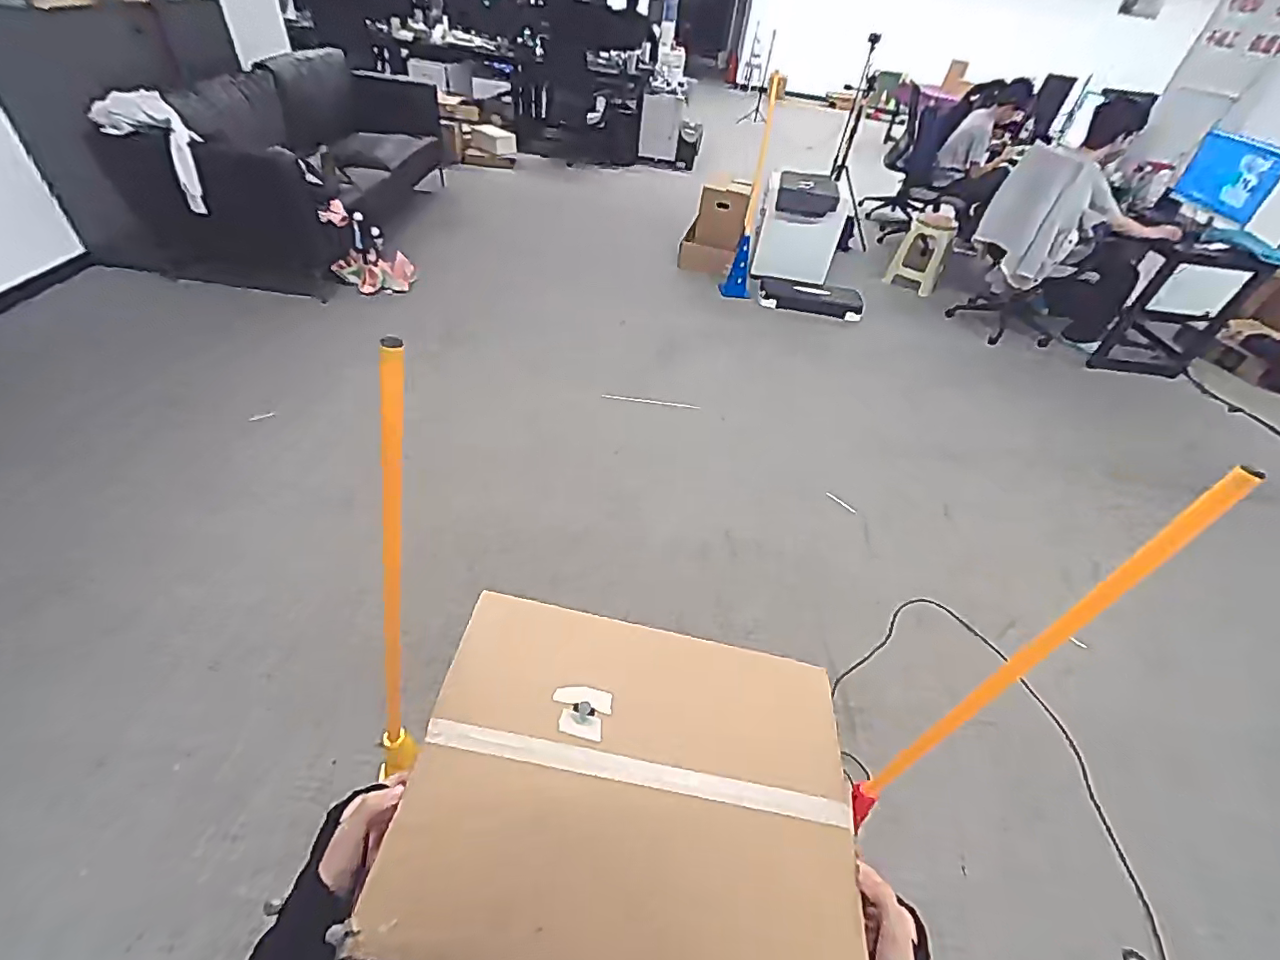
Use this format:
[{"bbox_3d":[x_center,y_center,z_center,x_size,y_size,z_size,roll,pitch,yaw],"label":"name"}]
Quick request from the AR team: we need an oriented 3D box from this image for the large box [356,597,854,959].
[{"bbox_3d":[-0.028,0.381,0.621,0.408,0.320,0.320,13,44,-2],"label":"large box"}]
